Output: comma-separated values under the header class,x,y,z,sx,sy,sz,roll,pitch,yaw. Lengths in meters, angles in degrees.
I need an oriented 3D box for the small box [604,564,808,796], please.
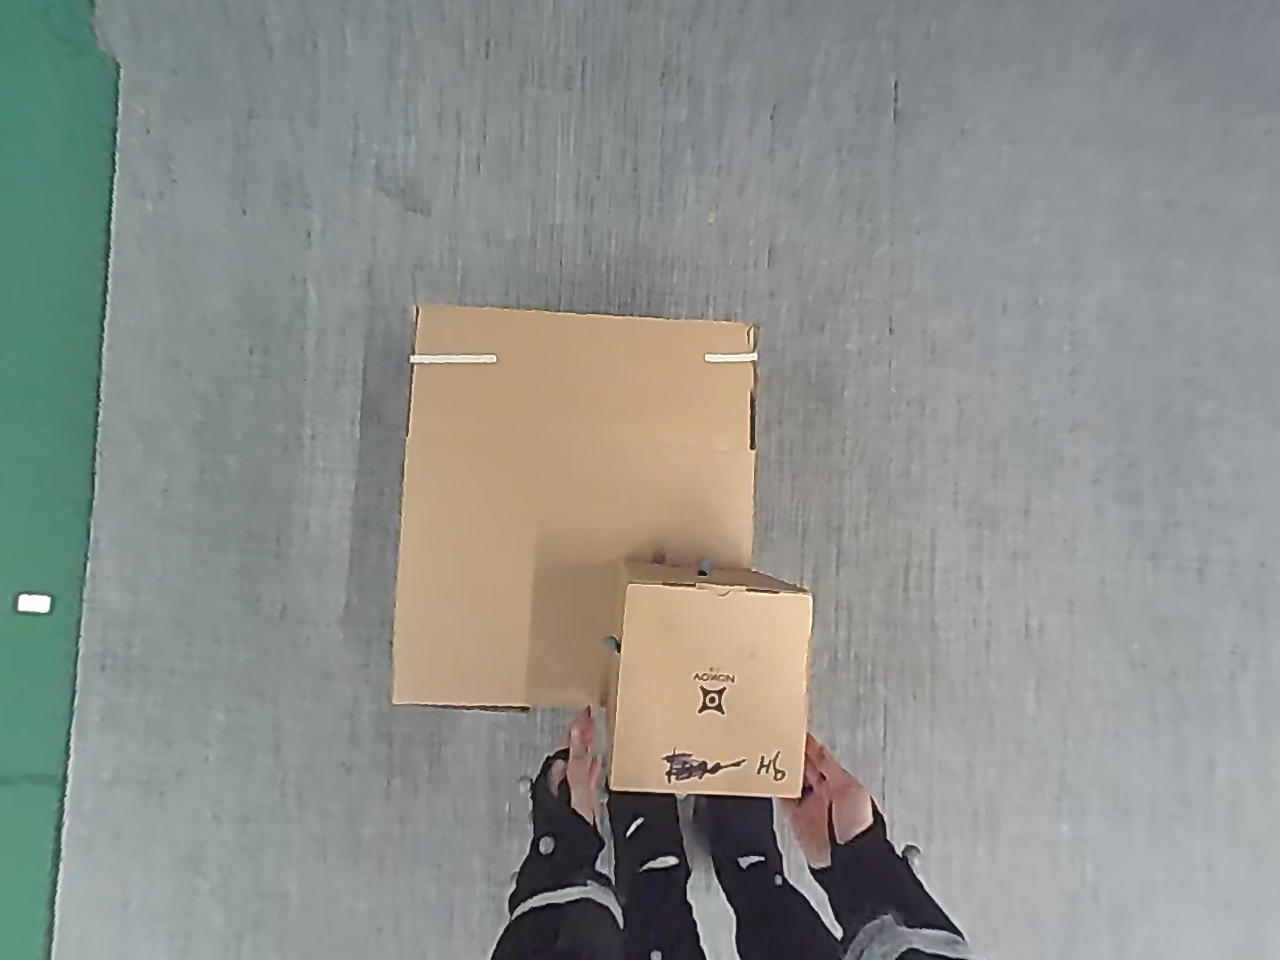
class,x,y,z,sx,sy,sz,roll,pitch,yaw
small box,0.054,0.181,0.540,0.168,0.176,0.179,5,86,-4
